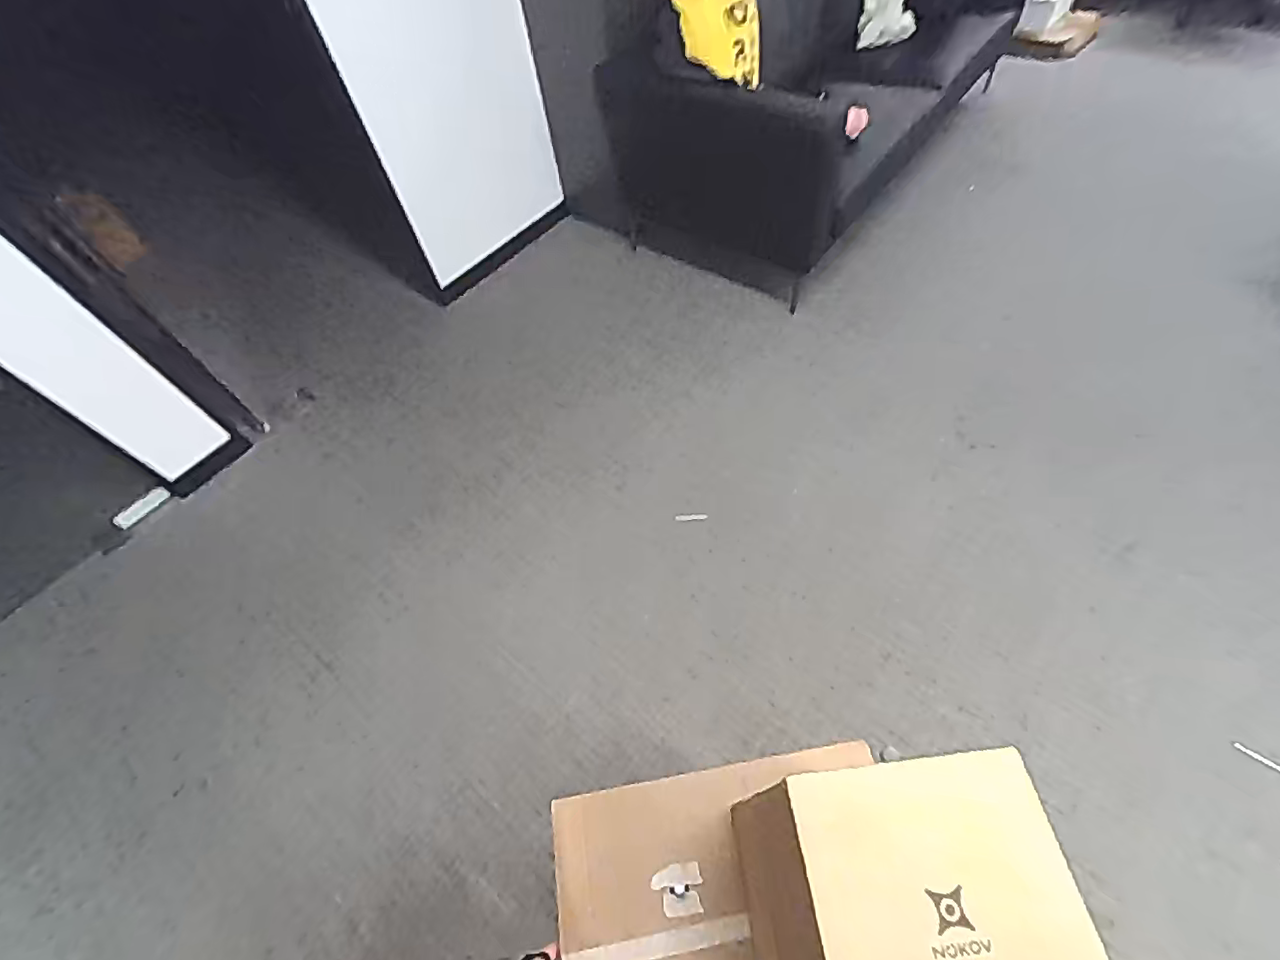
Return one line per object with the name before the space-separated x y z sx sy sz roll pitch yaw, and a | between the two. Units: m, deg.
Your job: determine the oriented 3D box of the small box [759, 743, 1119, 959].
small box | 0.192 0.304 0.389 0.168 0.176 0.179 -6 57 -2
